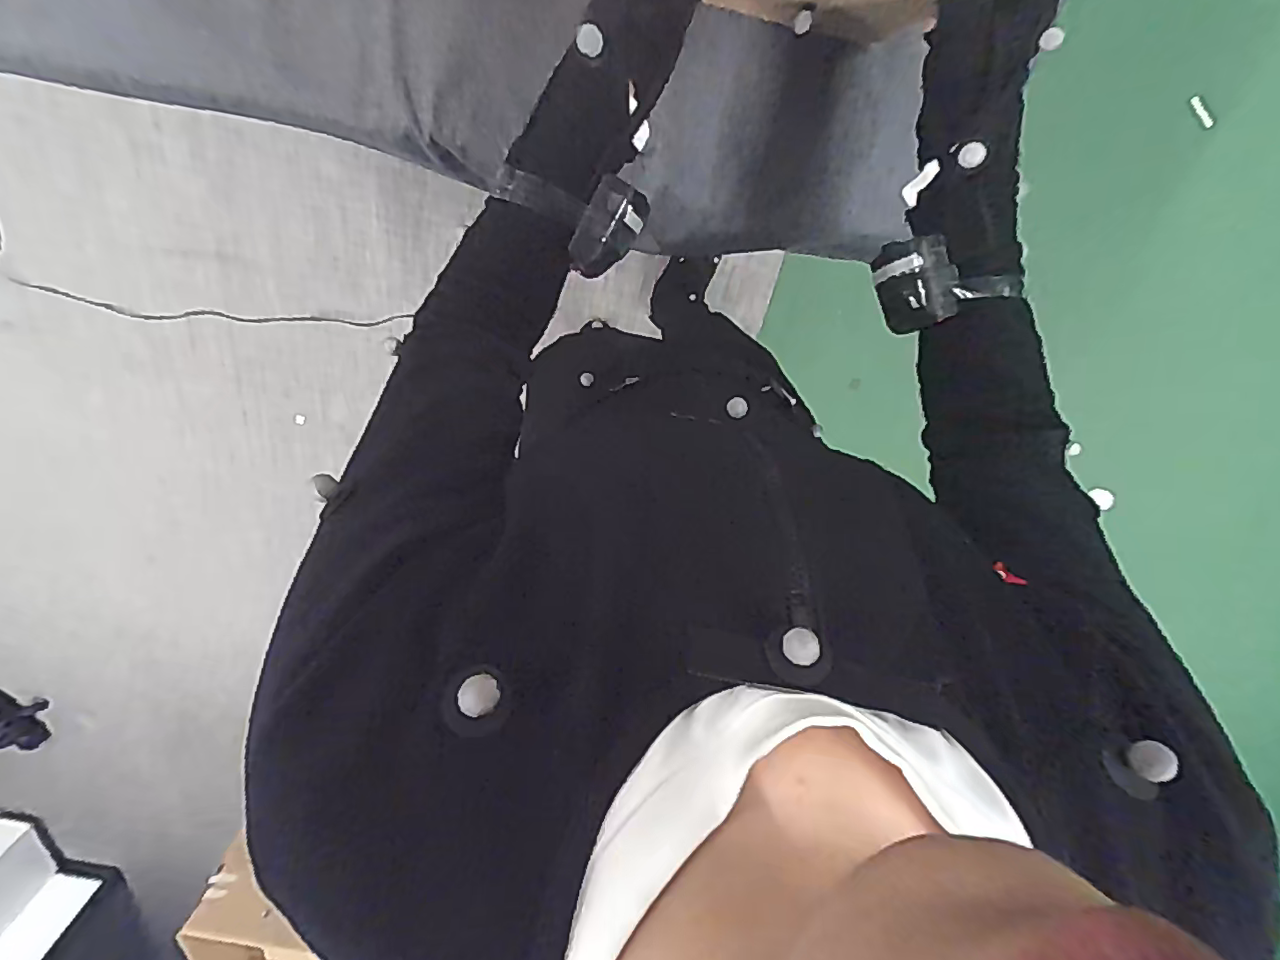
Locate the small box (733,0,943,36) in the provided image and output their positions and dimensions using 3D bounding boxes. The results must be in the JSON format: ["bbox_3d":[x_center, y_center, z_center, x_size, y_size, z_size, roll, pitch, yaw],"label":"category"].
[{"bbox_3d":[0.145,-0.440,0.372,0.168,0.176,0.179,12,122,-3],"label":"small box"}]
